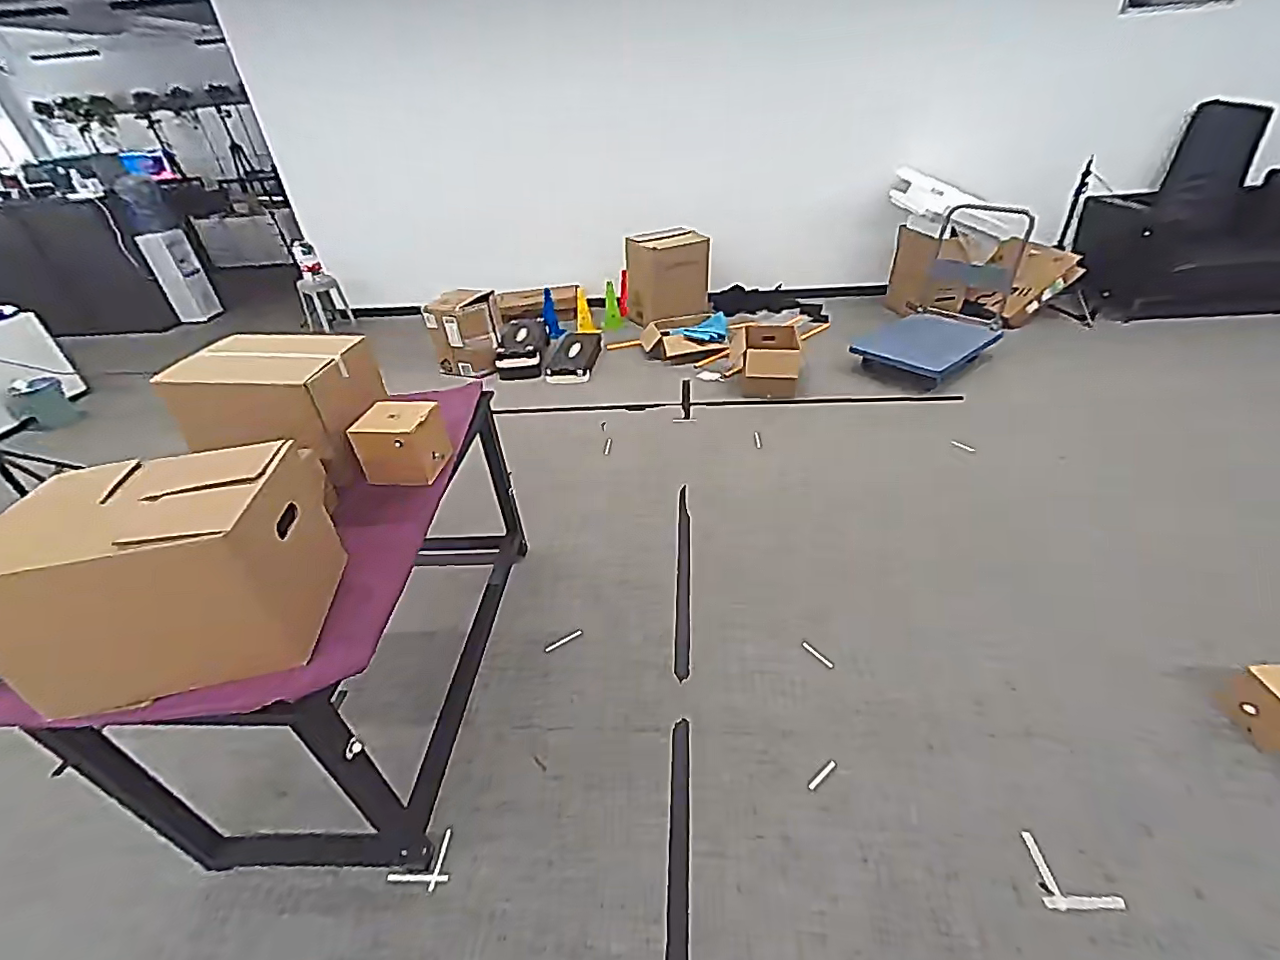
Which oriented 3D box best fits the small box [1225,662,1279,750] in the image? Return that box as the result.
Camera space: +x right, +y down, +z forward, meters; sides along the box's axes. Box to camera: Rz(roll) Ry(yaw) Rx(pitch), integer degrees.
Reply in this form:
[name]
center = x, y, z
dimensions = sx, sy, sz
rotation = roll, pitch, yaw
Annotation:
[small box]
center = 1.757, 0.612, 1.460
dimensions = 0.179, 0.176, 0.168
rotation = -2, 35, 3
